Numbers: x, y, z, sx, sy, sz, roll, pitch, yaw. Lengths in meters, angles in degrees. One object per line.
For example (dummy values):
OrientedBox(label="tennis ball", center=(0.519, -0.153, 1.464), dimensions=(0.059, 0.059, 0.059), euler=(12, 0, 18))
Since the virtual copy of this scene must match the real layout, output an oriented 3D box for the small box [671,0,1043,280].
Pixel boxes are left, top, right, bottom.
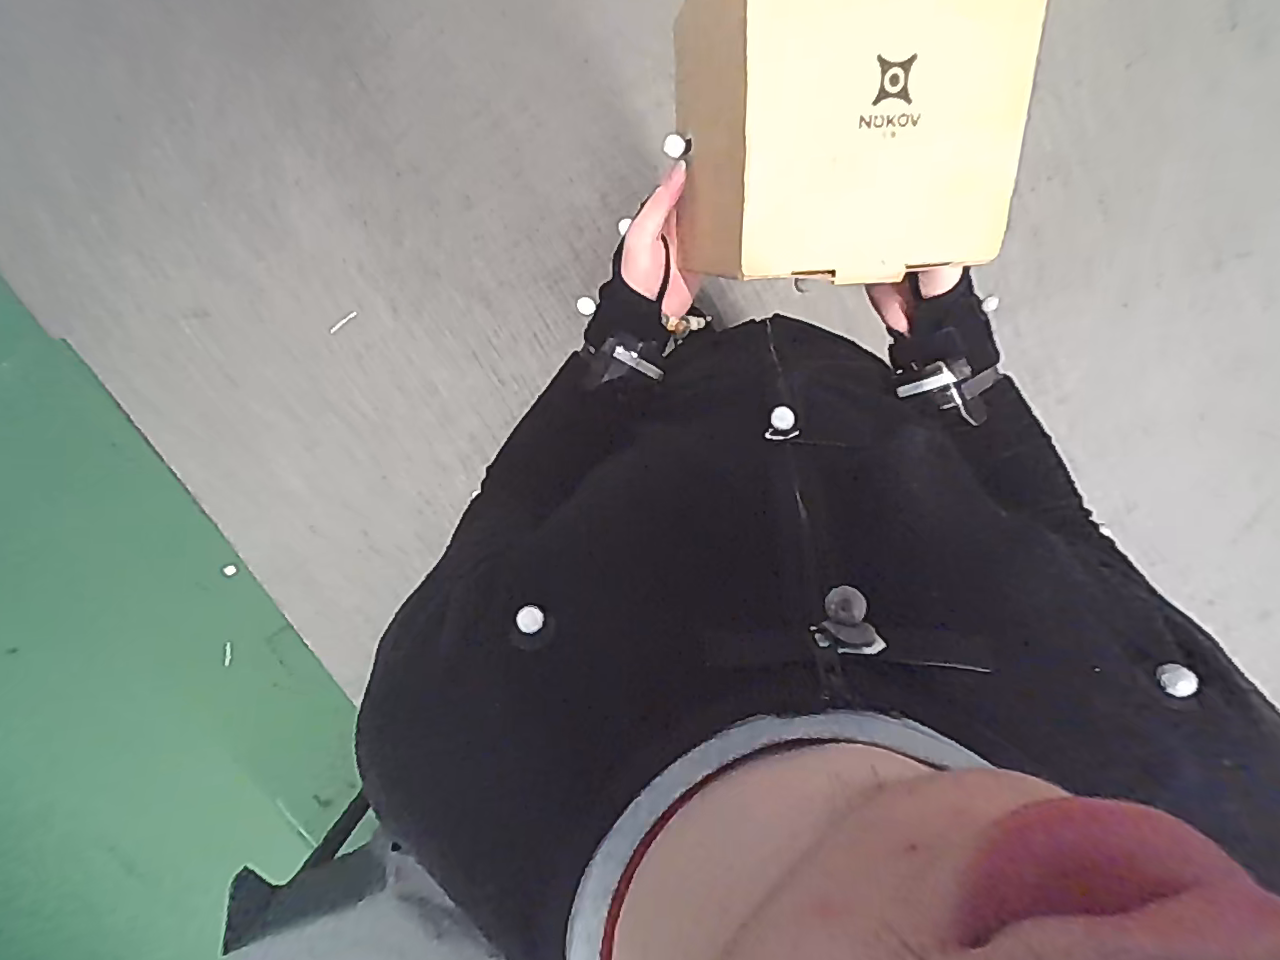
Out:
OrientedBox(label="small box", center=(0.119, -0.238, 0.365), dimensions=(0.168, 0.176, 0.179), euler=(-6, 115, -8))
